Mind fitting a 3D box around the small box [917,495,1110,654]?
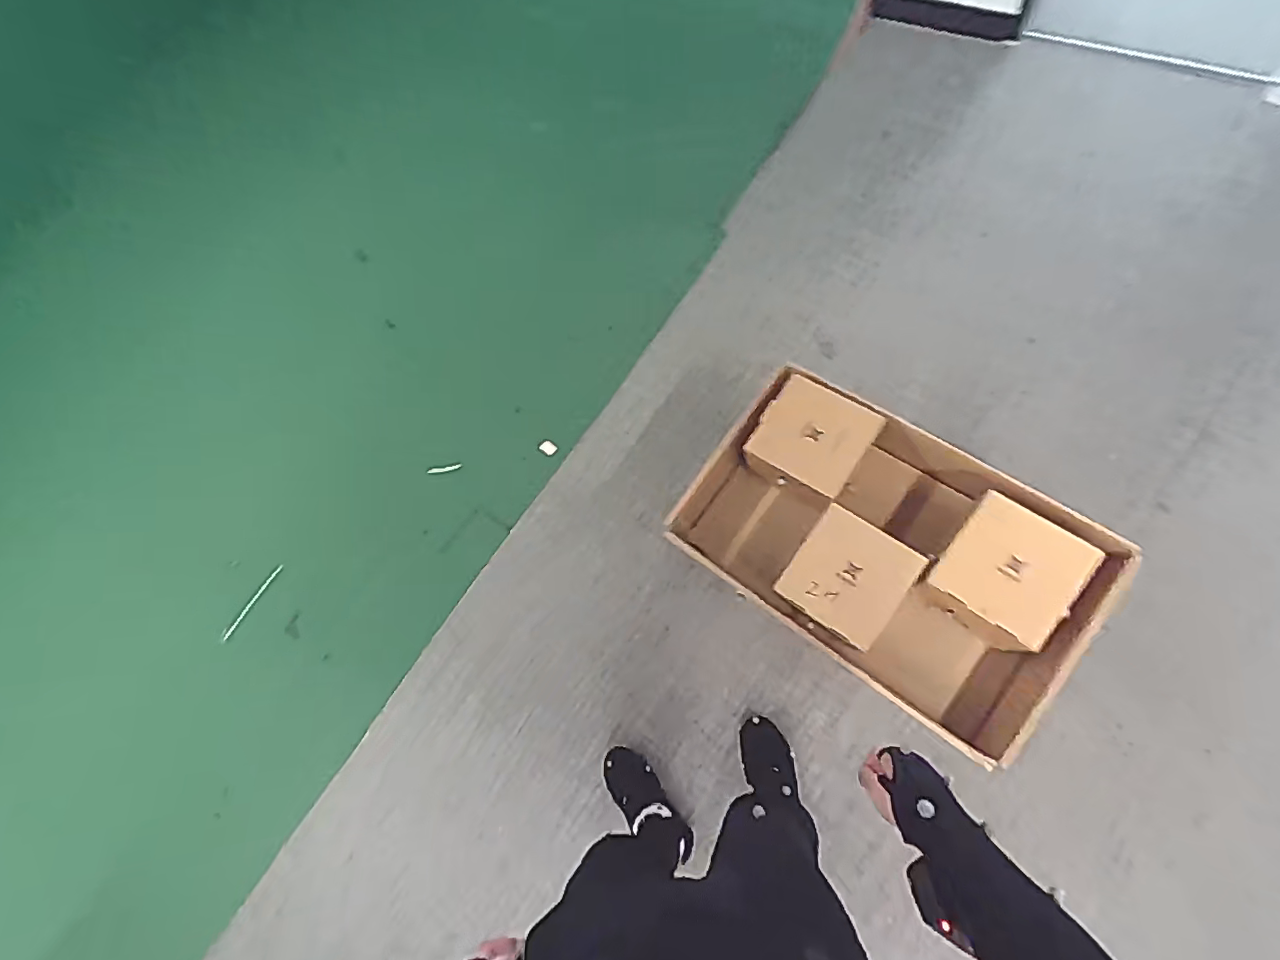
[{"bbox_3d":[0.575,0.153,0.863,0.168,0.176,0.179,36,88,21],"label":"small box"}]
